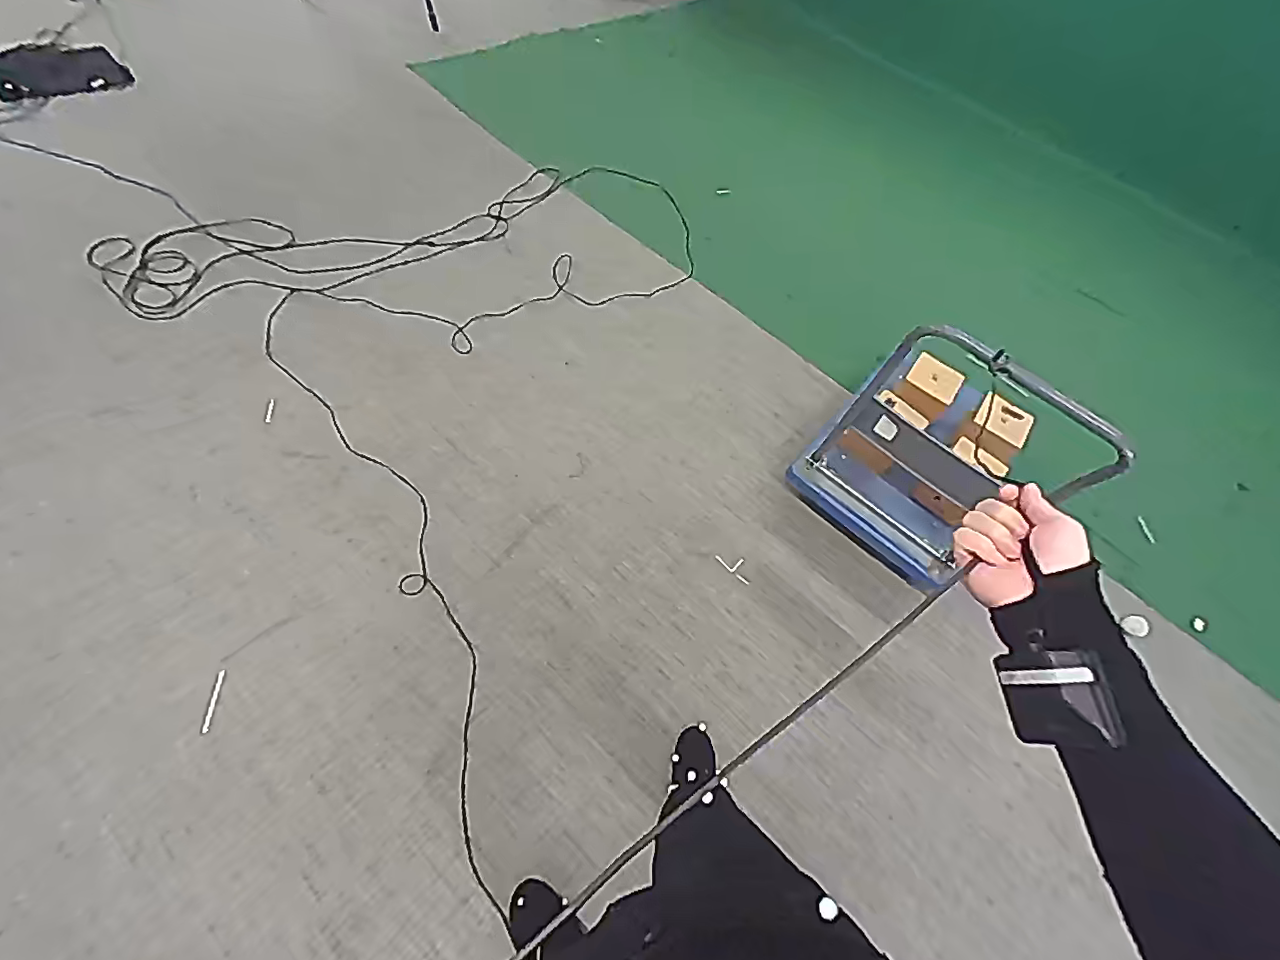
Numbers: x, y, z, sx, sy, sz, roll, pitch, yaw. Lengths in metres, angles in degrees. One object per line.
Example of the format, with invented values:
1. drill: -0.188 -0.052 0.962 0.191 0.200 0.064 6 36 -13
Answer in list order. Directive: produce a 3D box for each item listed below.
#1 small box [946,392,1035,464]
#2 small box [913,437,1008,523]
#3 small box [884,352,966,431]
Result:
1. small box: 1.183 -0.157 1.836 0.168 0.176 0.179 37 61 13
2. small box: 1.005 0.003 1.710 0.168 0.176 0.179 41 62 14
3. small box: 0.986 -0.304 1.889 0.168 0.176 0.179 38 60 11
